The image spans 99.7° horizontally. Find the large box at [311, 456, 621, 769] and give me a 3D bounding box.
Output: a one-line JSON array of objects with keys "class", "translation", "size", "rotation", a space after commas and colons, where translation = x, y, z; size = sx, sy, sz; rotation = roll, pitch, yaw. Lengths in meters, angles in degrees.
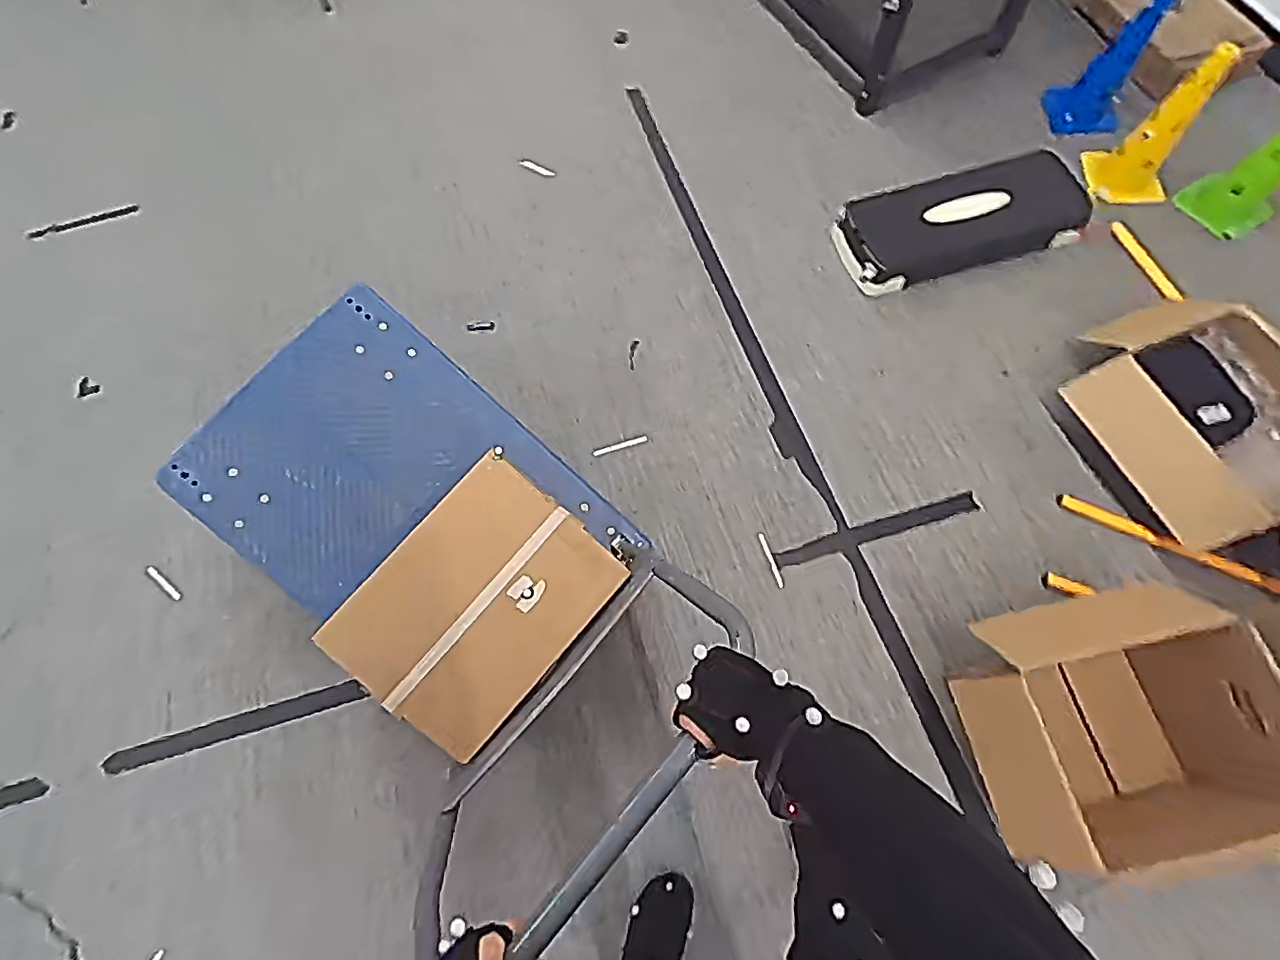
[{"class": "large box", "translation": [-0.291, 0.219, 1.008], "size": [0.320, 0.320, 0.408], "rotation": [41, 81, -5]}]
